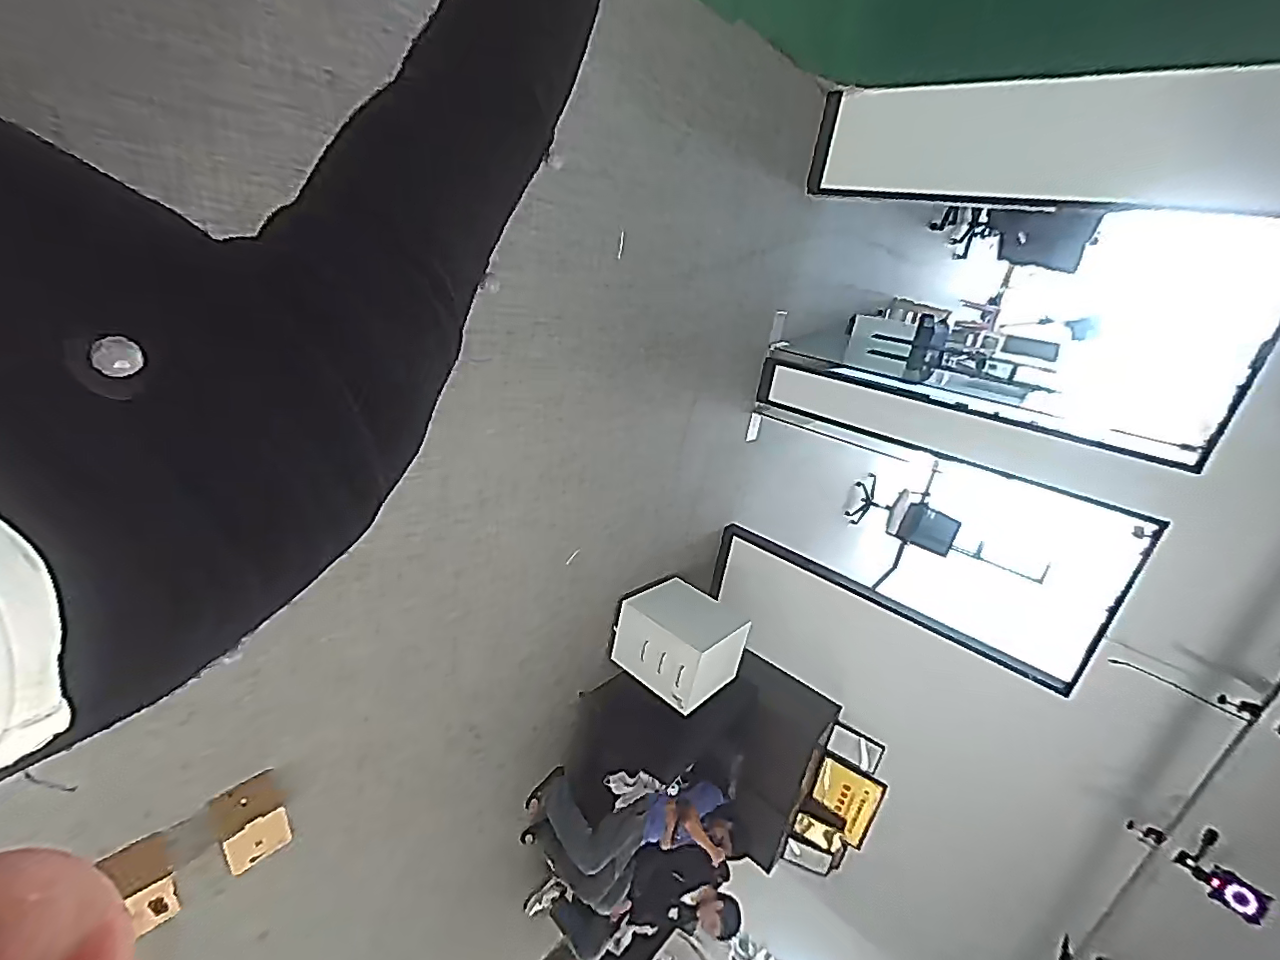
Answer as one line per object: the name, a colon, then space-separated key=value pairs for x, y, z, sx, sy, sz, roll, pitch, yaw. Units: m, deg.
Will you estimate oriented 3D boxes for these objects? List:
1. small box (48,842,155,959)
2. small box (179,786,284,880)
small box: x=-1.460 y=1.142 z=1.469 sx=0.179 sy=0.176 sz=0.168 roll=-12 pitch=118 yaw=-51
small box: x=-1.274 y=1.094 z=1.683 sx=0.179 sy=0.176 sz=0.168 roll=-48 pitch=145 yaw=-25
